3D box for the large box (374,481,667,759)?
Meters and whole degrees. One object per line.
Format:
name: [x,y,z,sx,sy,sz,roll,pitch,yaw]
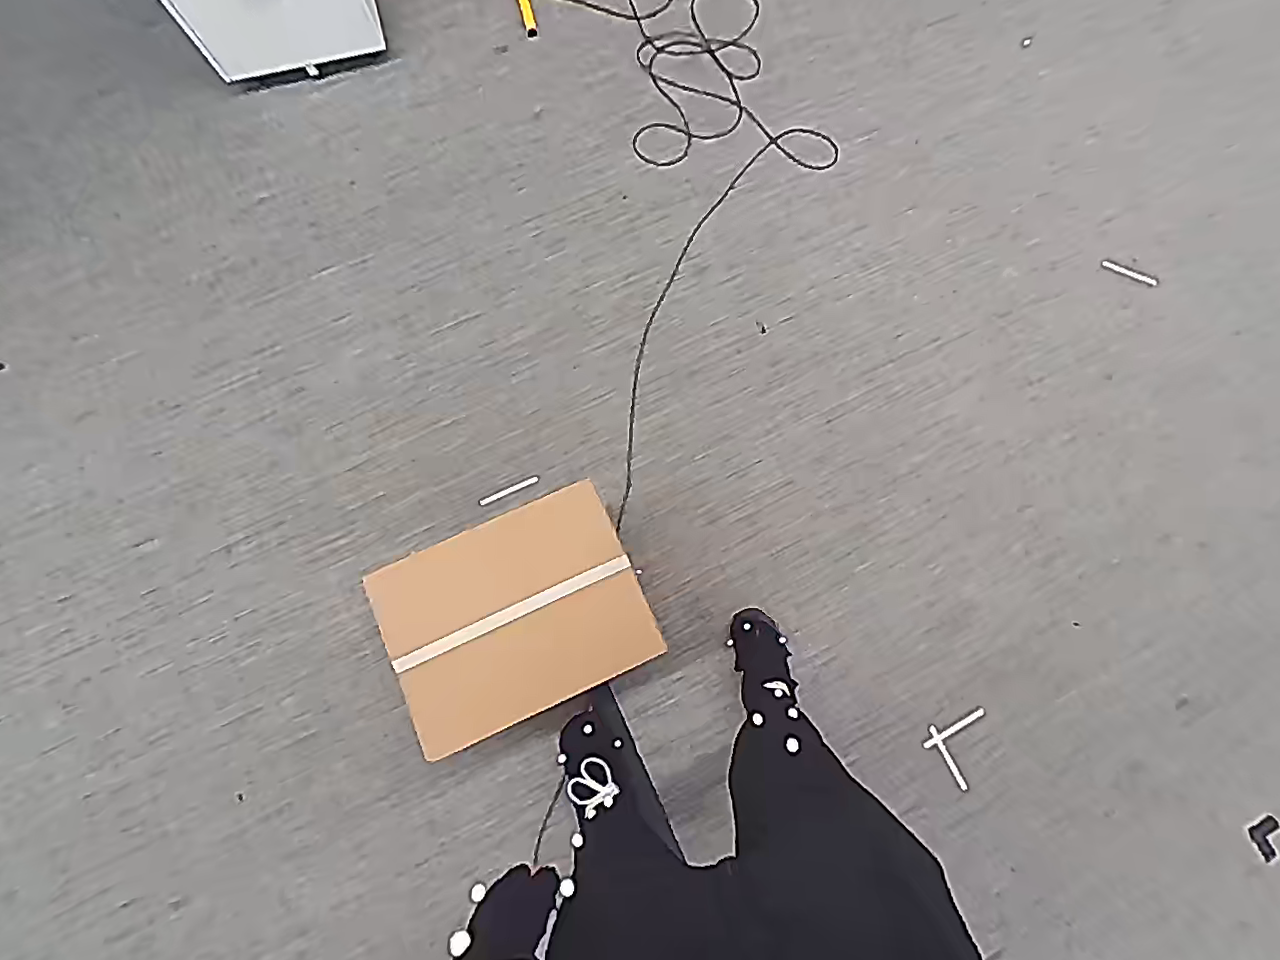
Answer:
large box: [-0.198,0.245,1.021,0.408,0.320,0.320,-24,81,-5]
